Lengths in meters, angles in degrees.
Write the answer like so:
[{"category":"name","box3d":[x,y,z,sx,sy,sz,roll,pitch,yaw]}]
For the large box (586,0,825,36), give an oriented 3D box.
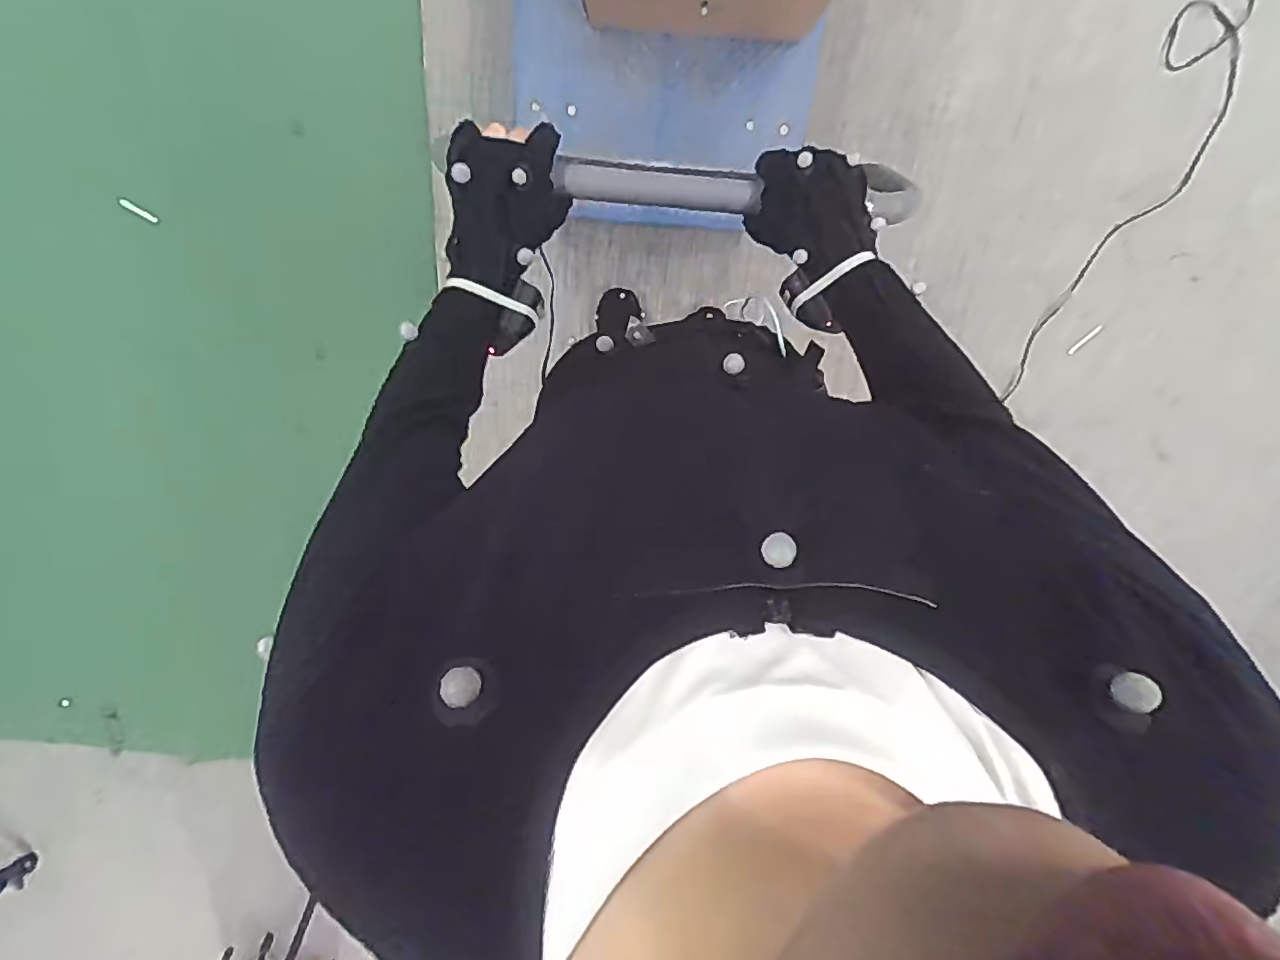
[{"category":"large box","box3d":[0.112,-0.927,0.829,0.408,0.320,0.320,3,112,0]}]
